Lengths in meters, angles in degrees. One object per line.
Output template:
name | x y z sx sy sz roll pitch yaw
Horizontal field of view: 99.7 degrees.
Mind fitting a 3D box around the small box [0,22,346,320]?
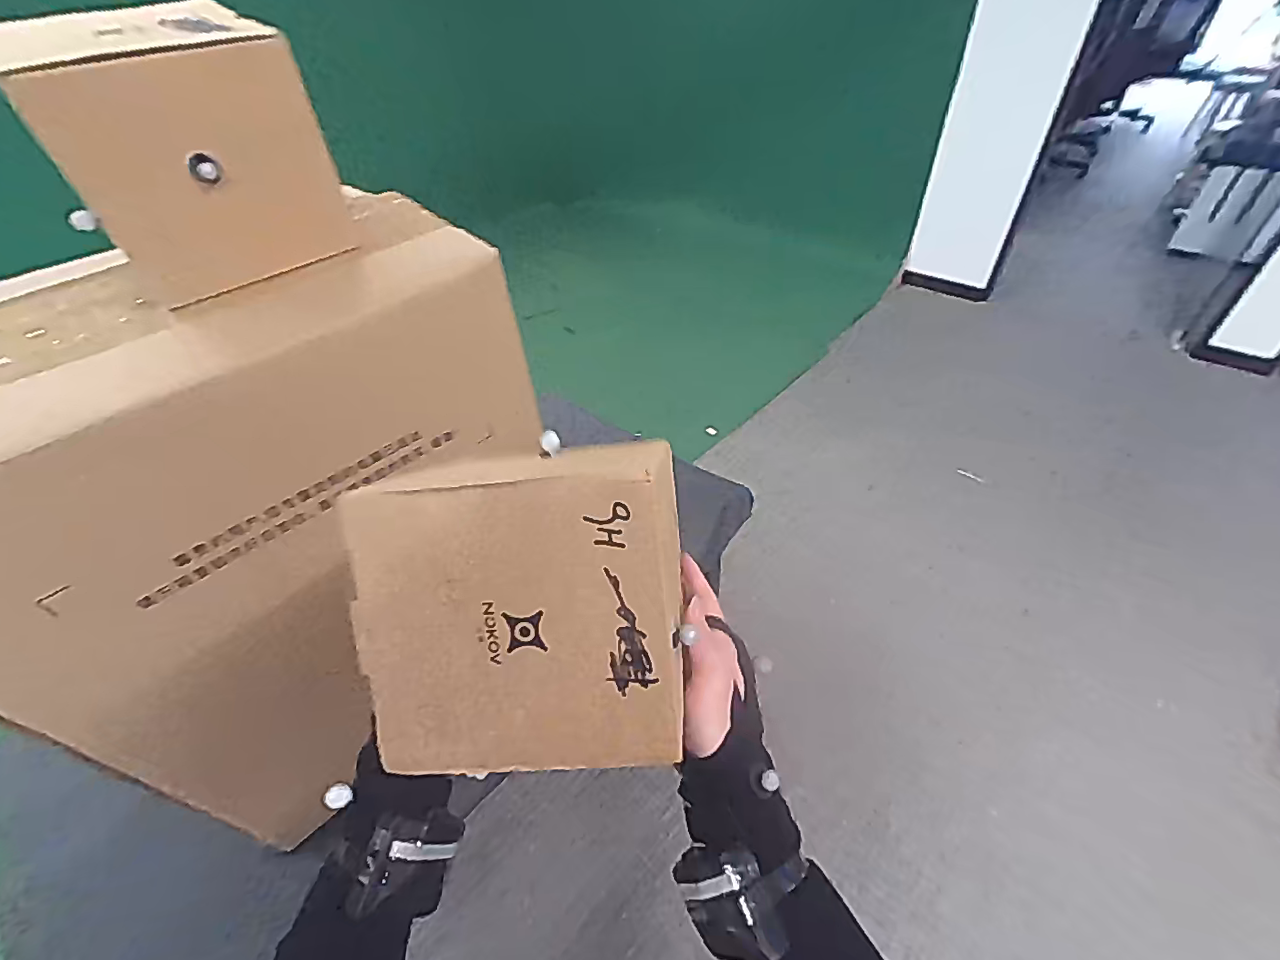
small box | -0.392 -0.272 0.475 0.179 0.176 0.168 -36 58 -27
